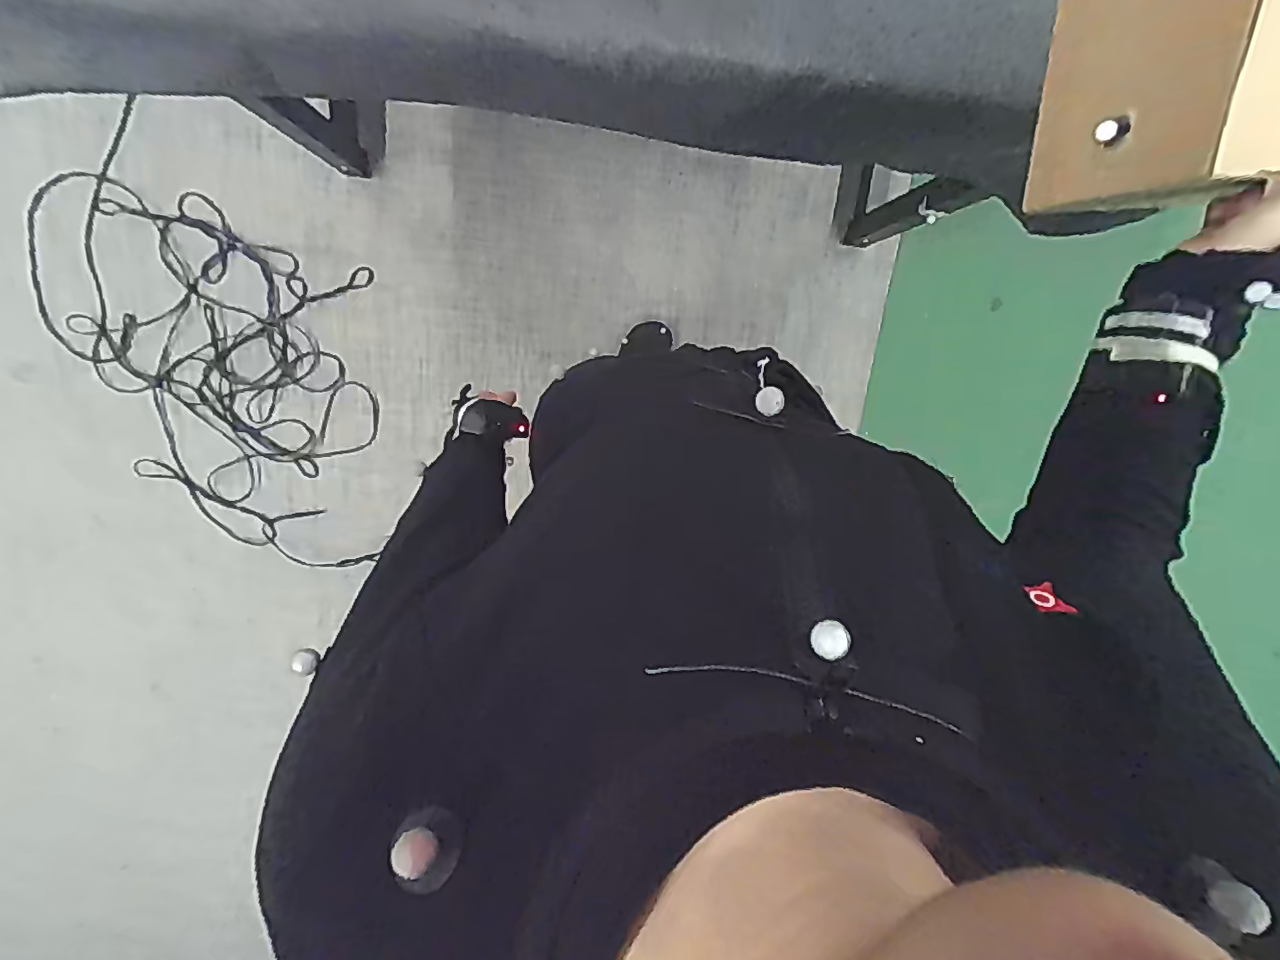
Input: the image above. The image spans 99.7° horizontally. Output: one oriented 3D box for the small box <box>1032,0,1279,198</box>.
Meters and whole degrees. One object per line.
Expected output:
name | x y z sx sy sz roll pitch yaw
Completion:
small box | 0.423 -0.308 0.383 0.168 0.176 0.179 -5 108 -2
